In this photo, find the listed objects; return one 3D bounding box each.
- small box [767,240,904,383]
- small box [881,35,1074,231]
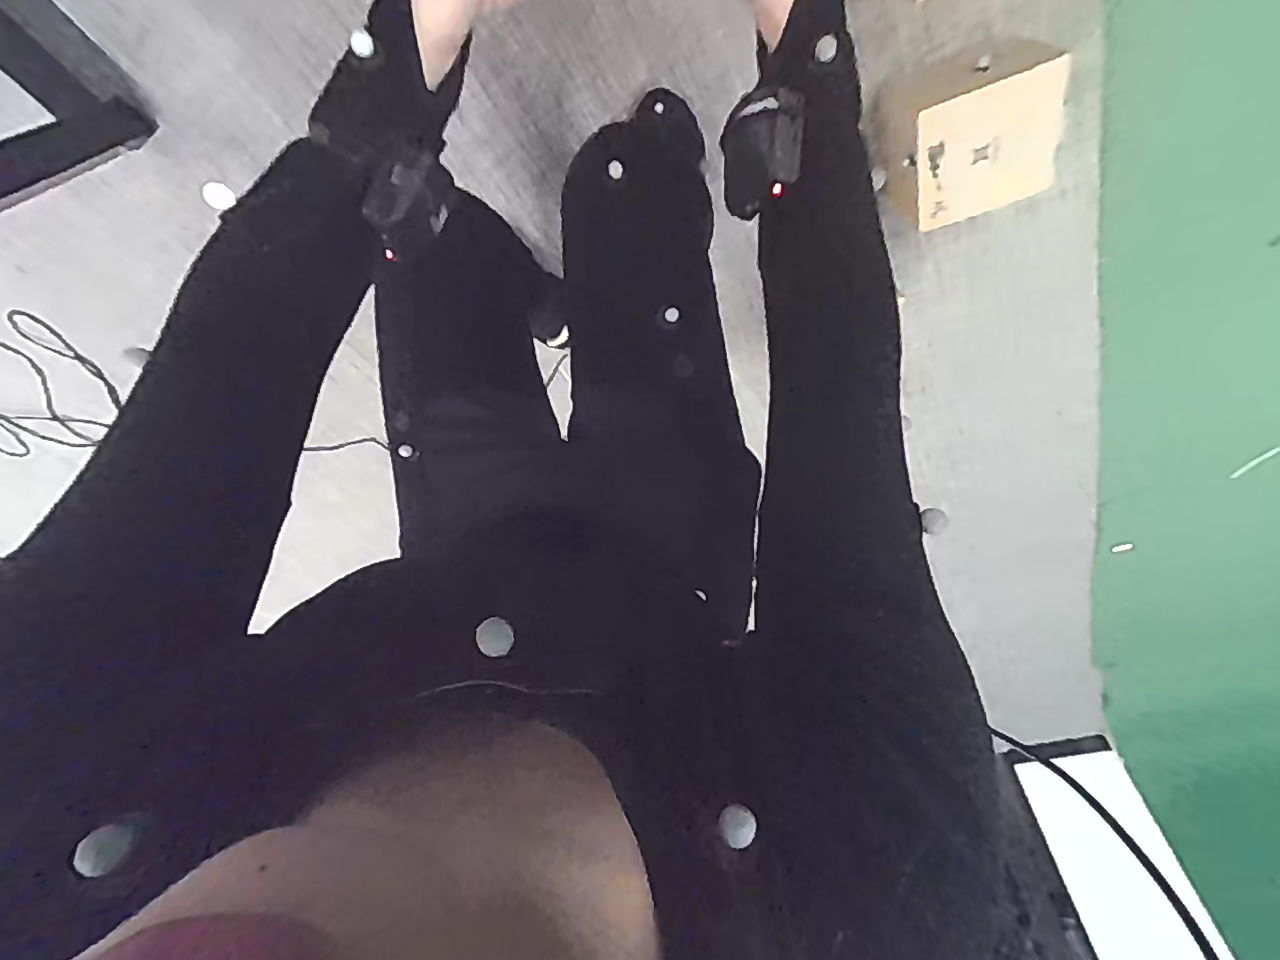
[{"bbox_3d":[0.338,-0.305,0.980,0.168,0.176,0.179,6,135,-6],"label":"small box"},{"bbox_3d":[0.464,-0.497,0.775,0.179,0.176,0.168,-14,135,15],"label":"small box"}]
